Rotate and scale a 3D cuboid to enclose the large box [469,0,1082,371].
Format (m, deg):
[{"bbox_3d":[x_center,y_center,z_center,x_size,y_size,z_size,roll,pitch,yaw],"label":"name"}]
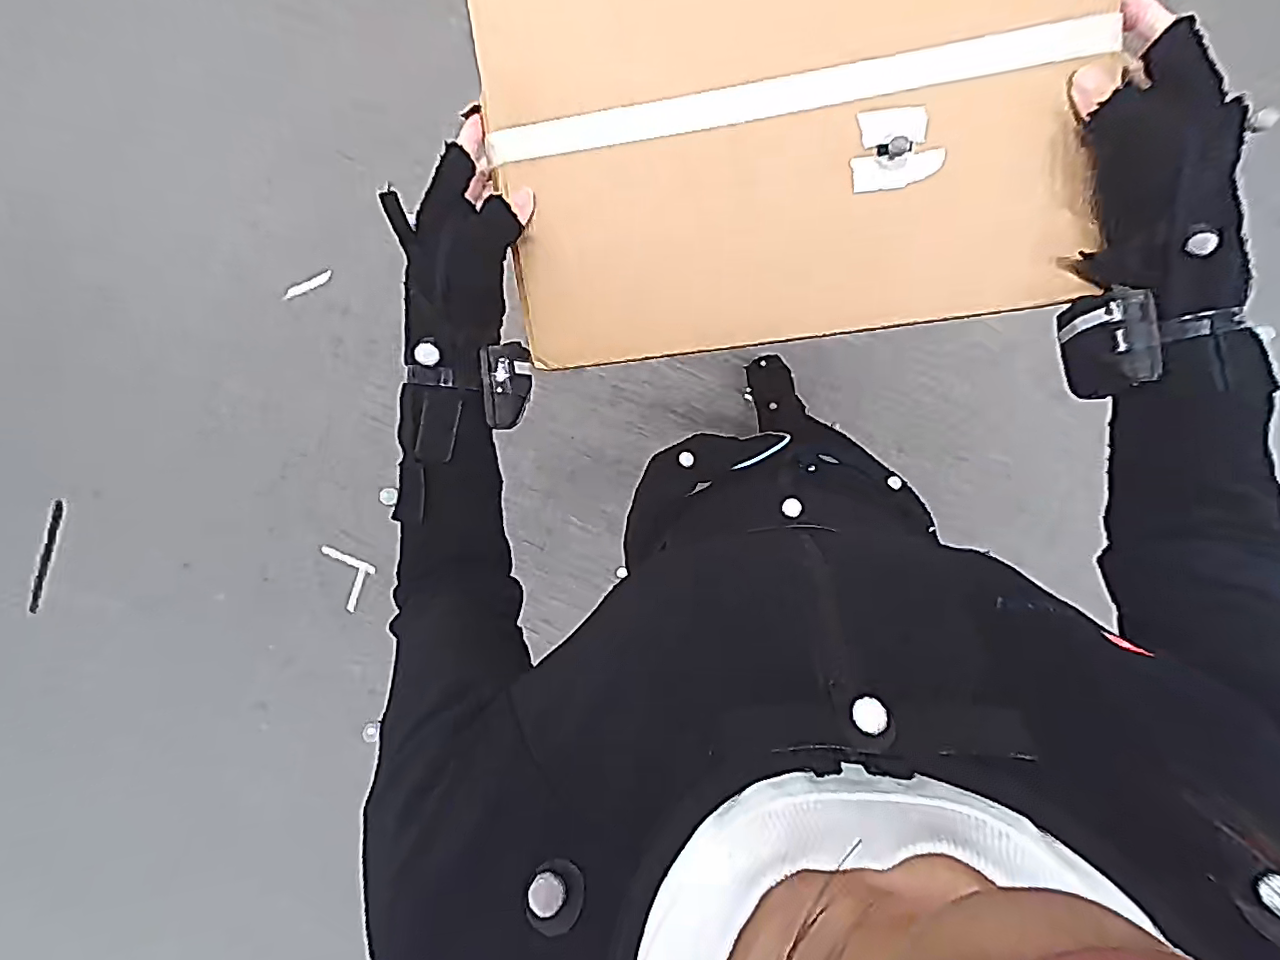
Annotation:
[{"bbox_3d":[0.103,-0.294,0.521,0.408,0.320,0.320,-7,104,6],"label":"large box"}]
